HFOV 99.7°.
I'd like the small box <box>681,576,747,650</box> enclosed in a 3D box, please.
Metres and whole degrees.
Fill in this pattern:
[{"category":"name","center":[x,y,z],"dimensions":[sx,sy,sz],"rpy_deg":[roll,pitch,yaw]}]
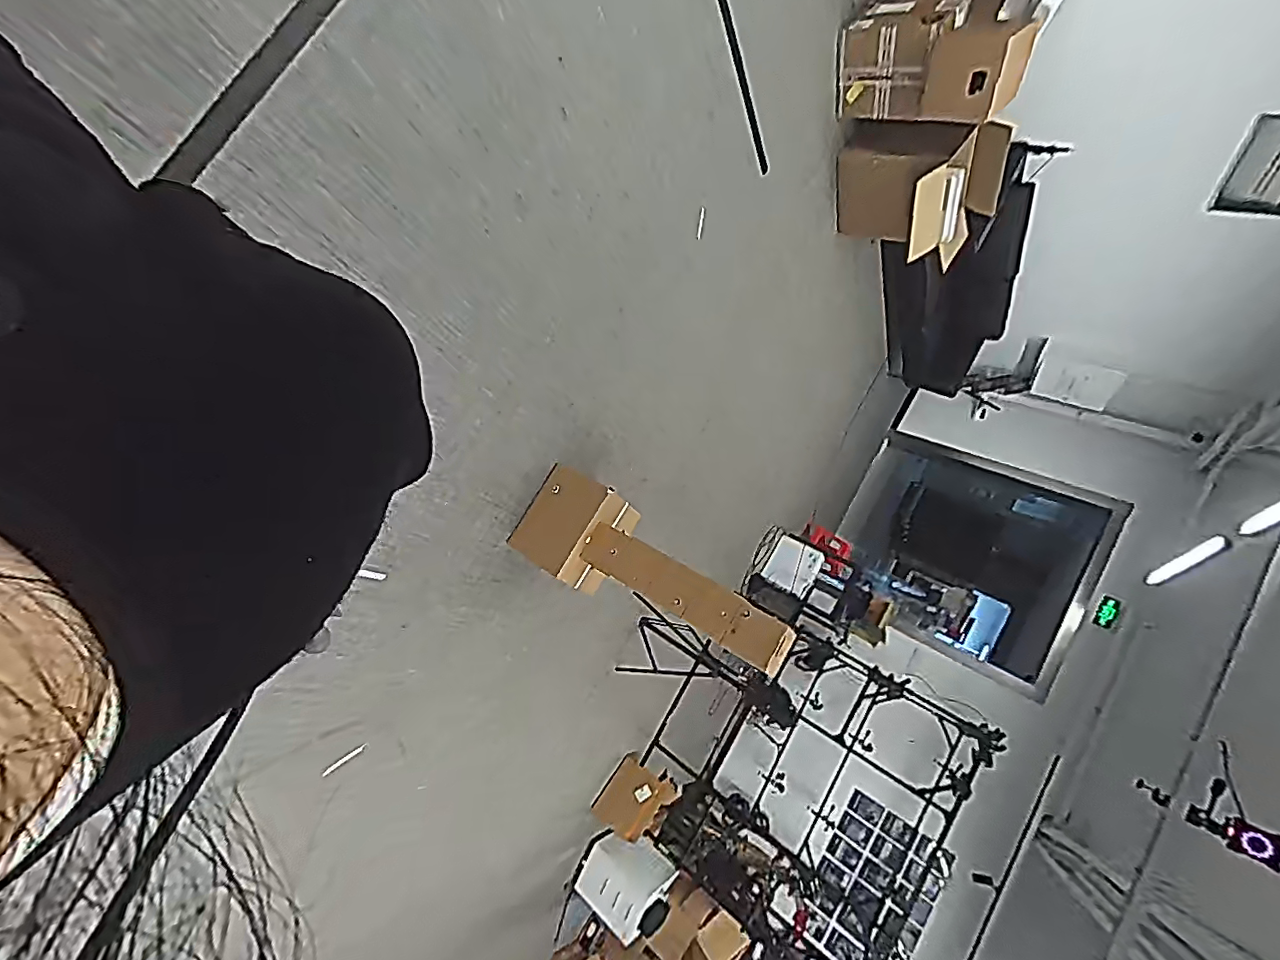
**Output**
[{"category":"small box","center":[0.261,0.465,1.895],"dimensions":[0.179,0.176,0.168],"rpy_deg":[-58,146,-10]}]

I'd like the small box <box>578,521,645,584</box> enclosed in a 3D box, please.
[{"category":"small box","center":[-0.115,0.286,2.153],"dimensions":[0.179,0.176,0.168],"rpy_deg":[-59,147,-6]}]

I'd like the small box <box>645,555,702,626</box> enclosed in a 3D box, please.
[{"category":"small box","center":[0.137,0.405,1.980],"dimensions":[0.179,0.176,0.168],"rpy_deg":[-58,147,-10]}]

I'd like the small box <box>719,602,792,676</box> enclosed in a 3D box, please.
[{"category":"small box","center":[0.386,0.527,1.807],"dimensions":[0.168,0.176,0.179],"rpy_deg":[-58,147,-10]}]
